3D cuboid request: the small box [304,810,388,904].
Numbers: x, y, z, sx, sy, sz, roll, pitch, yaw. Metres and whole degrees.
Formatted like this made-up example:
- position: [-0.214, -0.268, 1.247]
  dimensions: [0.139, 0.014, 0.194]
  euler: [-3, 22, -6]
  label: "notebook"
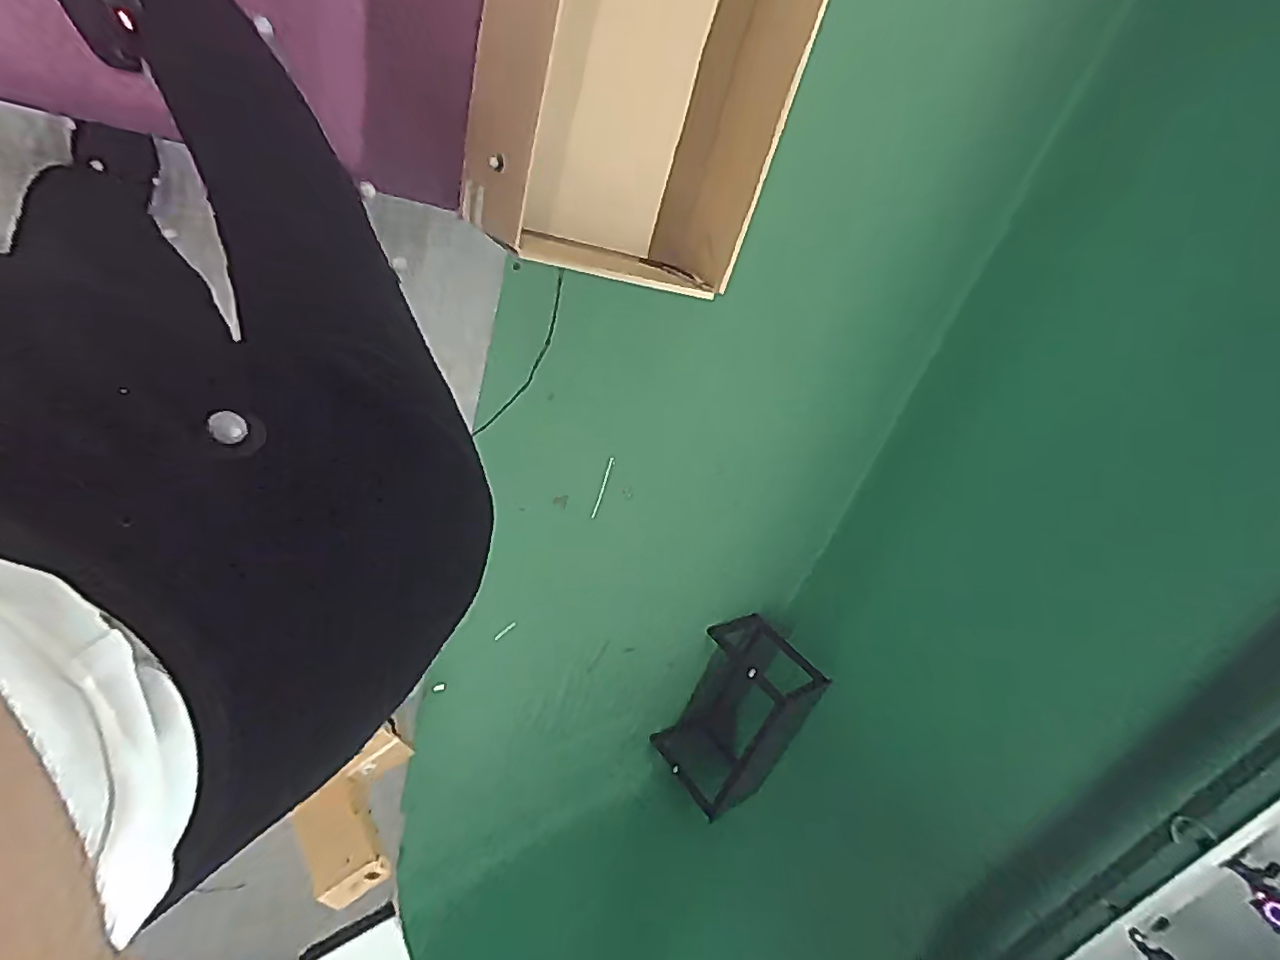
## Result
- position: [-0.965, 1.230, 1.773]
  dimensions: [0.179, 0.176, 0.168]
  euler: [-27, 137, -25]
  label: "small box"
